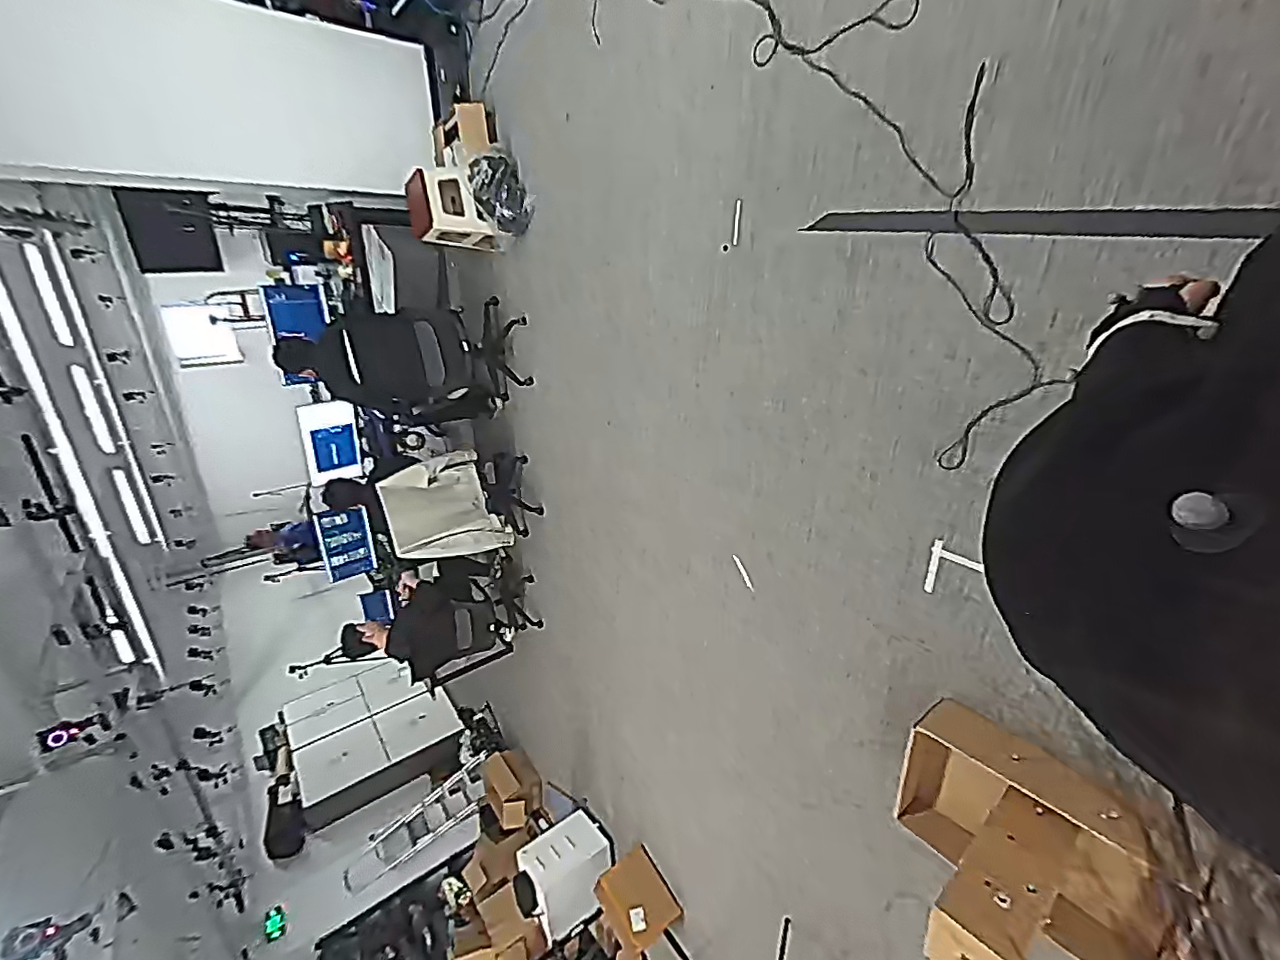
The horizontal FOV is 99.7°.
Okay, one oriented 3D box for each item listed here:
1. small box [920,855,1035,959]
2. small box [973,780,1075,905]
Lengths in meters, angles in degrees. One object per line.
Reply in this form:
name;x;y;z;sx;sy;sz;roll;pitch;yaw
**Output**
small box;0.765;1.019;1.228;0.168;0.176;0.179;19;118;48
small box;1.014;0.947;1.427;0.168;0.176;0.179;20;119;48
